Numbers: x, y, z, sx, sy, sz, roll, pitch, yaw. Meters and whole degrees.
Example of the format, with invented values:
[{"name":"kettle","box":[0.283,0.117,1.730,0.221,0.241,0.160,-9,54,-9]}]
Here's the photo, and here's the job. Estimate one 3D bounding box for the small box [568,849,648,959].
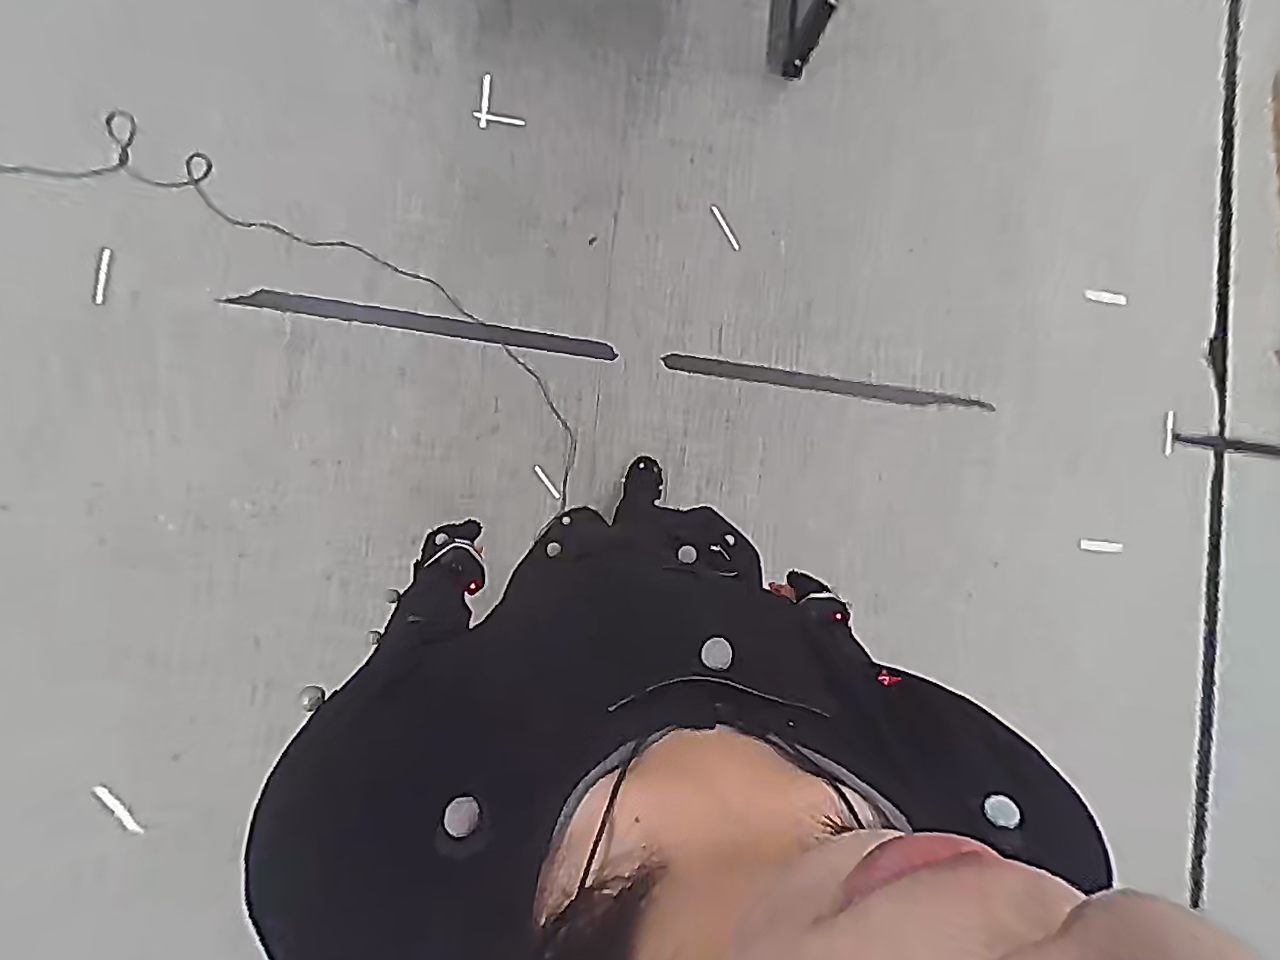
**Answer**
[{"name":"small box","box":[-0.086,1.104,1.387,0.168,0.176,0.179,-13,89,-8]}]
